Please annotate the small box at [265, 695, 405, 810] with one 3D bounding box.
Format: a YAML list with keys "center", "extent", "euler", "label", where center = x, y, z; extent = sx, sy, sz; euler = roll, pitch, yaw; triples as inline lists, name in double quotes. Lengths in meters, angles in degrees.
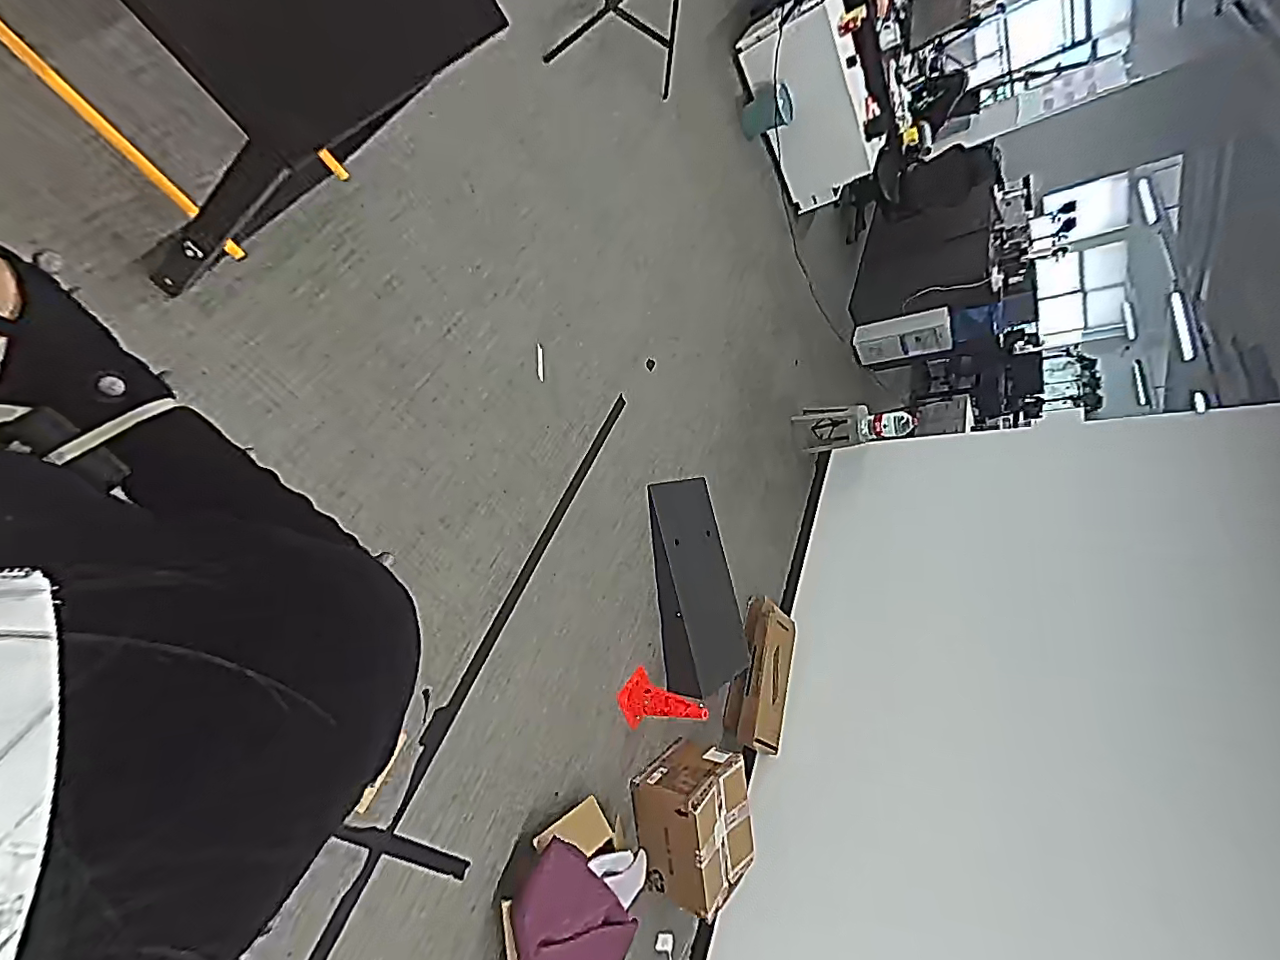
- center: [-0.669, 0.587, 1.184]
  extent: [0.179, 0.176, 0.168]
  euler: [52, 49, -35]
  label: "small box"
